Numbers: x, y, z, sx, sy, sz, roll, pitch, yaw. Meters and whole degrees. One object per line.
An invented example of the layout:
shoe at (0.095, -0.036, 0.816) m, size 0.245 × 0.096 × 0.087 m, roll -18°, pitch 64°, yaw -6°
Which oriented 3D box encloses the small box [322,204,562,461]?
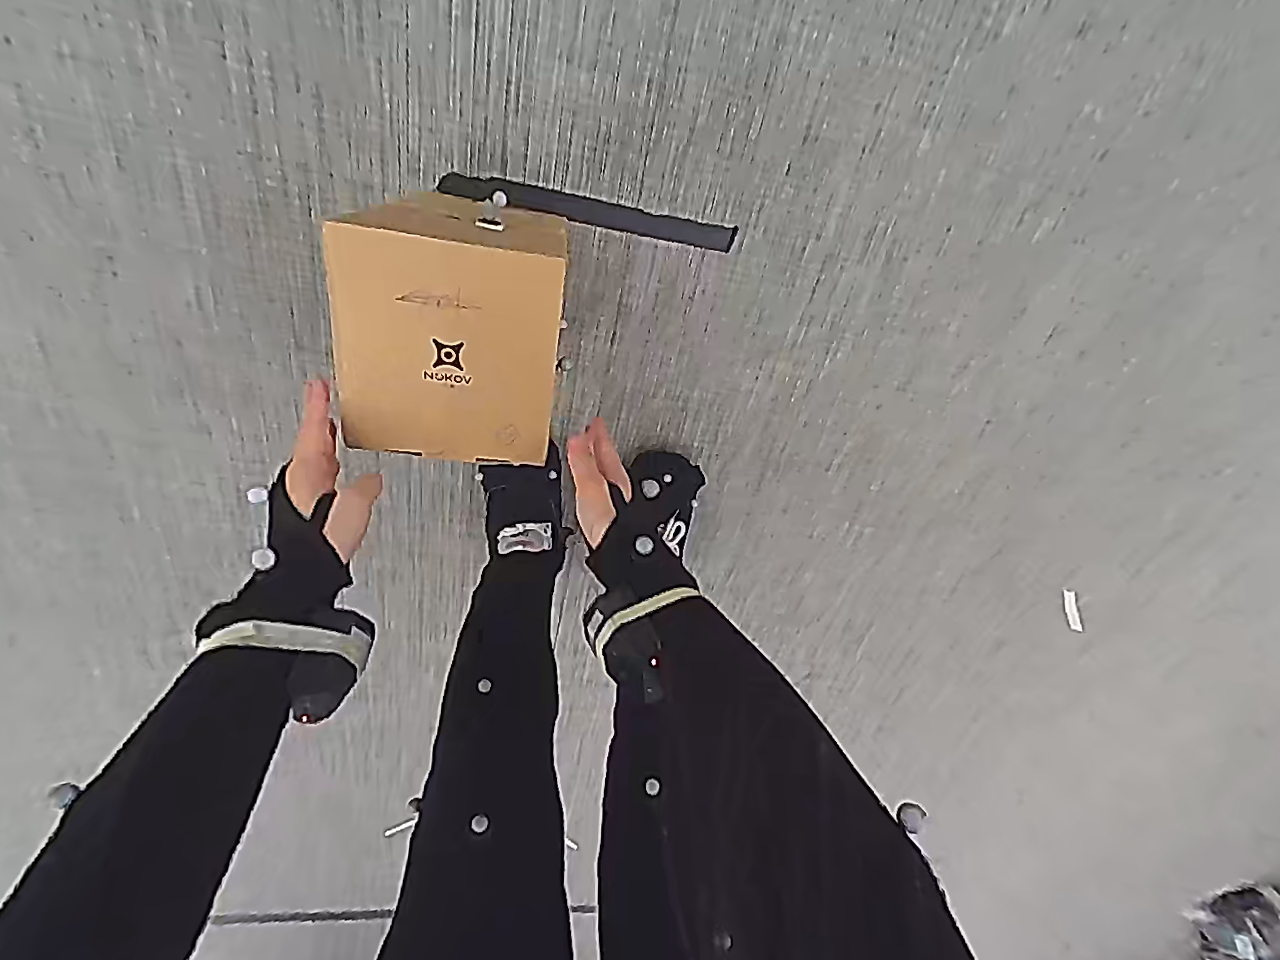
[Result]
small box at (-0.159, -0.137, 0.490) m, size 0.168 × 0.176 × 0.179 m, roll 3°, pitch 119°, yaw -11°

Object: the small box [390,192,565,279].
small box at (-0.178, -0.220, 0.628) m, size 0.168 × 0.176 × 0.179 m, roll 6°, pitch 120°, yaw -11°
